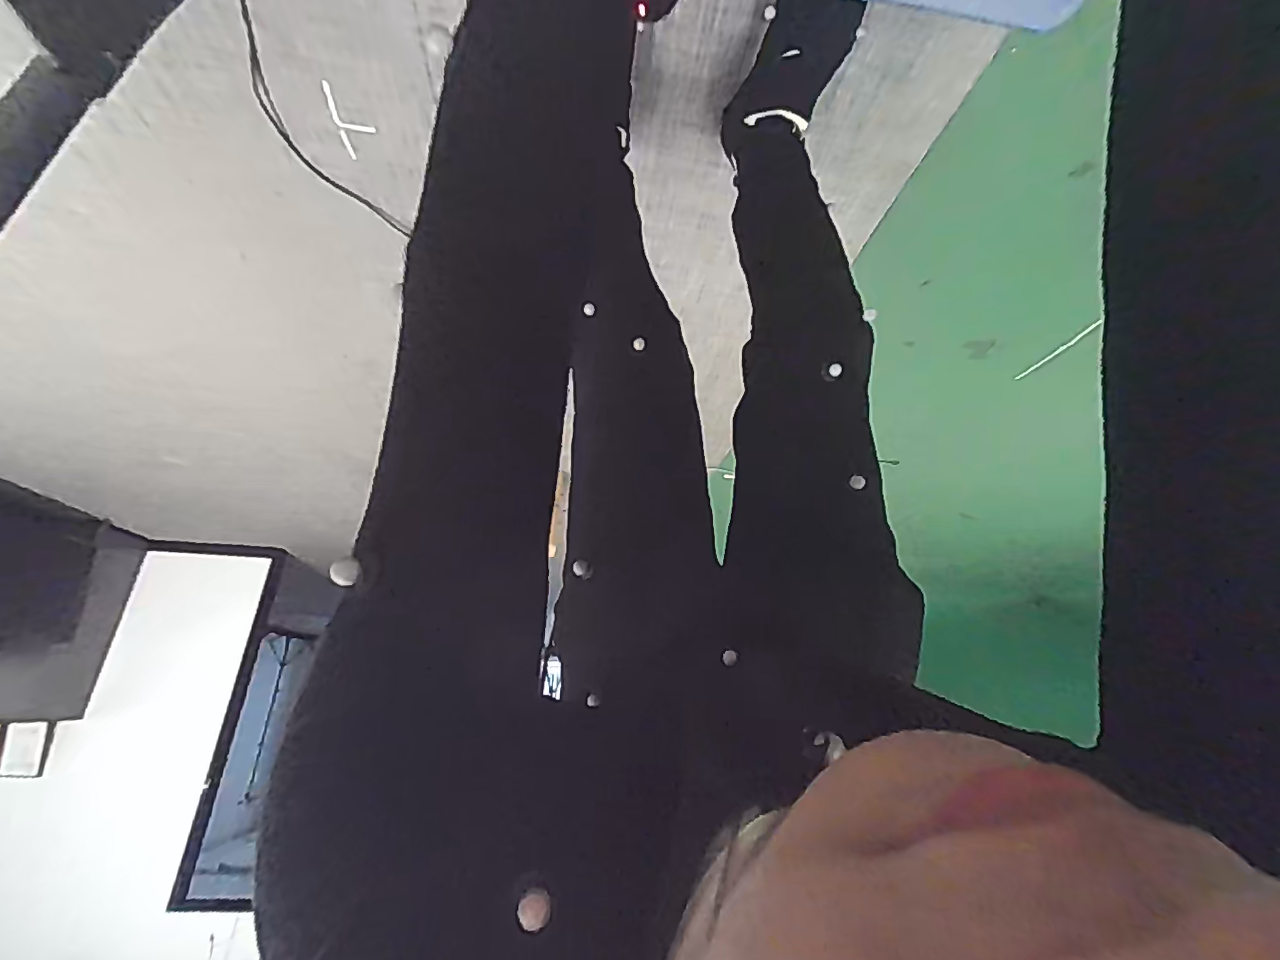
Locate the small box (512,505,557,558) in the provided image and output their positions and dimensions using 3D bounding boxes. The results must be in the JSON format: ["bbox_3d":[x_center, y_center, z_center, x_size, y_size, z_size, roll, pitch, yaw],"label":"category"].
[{"bbox_3d":[-0.433,0.212,2.214,0.168,0.176,0.179,7,155,-11],"label":"small box"}]

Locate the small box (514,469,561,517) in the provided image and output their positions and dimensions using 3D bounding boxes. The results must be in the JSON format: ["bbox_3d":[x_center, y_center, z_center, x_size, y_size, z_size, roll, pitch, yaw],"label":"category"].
[{"bbox_3d":[-0.433,0.063,2.280,0.179,0.176,0.168,7,156,-11],"label":"small box"}]
